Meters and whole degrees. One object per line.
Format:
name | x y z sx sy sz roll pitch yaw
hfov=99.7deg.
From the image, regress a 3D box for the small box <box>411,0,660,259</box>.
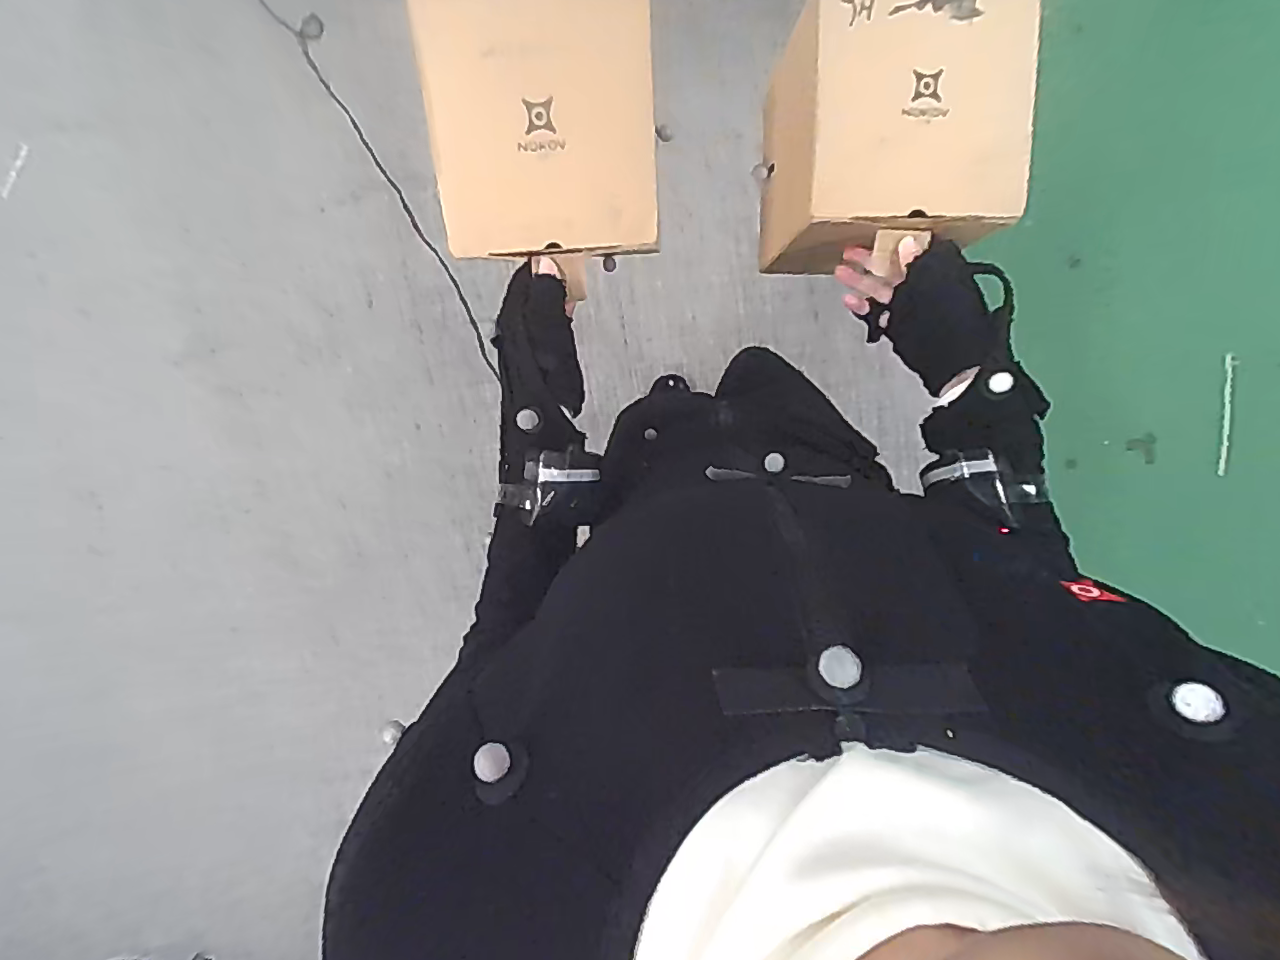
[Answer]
small box | -0.069 -0.294 0.473 0.168 0.176 0.179 -3 111 4
